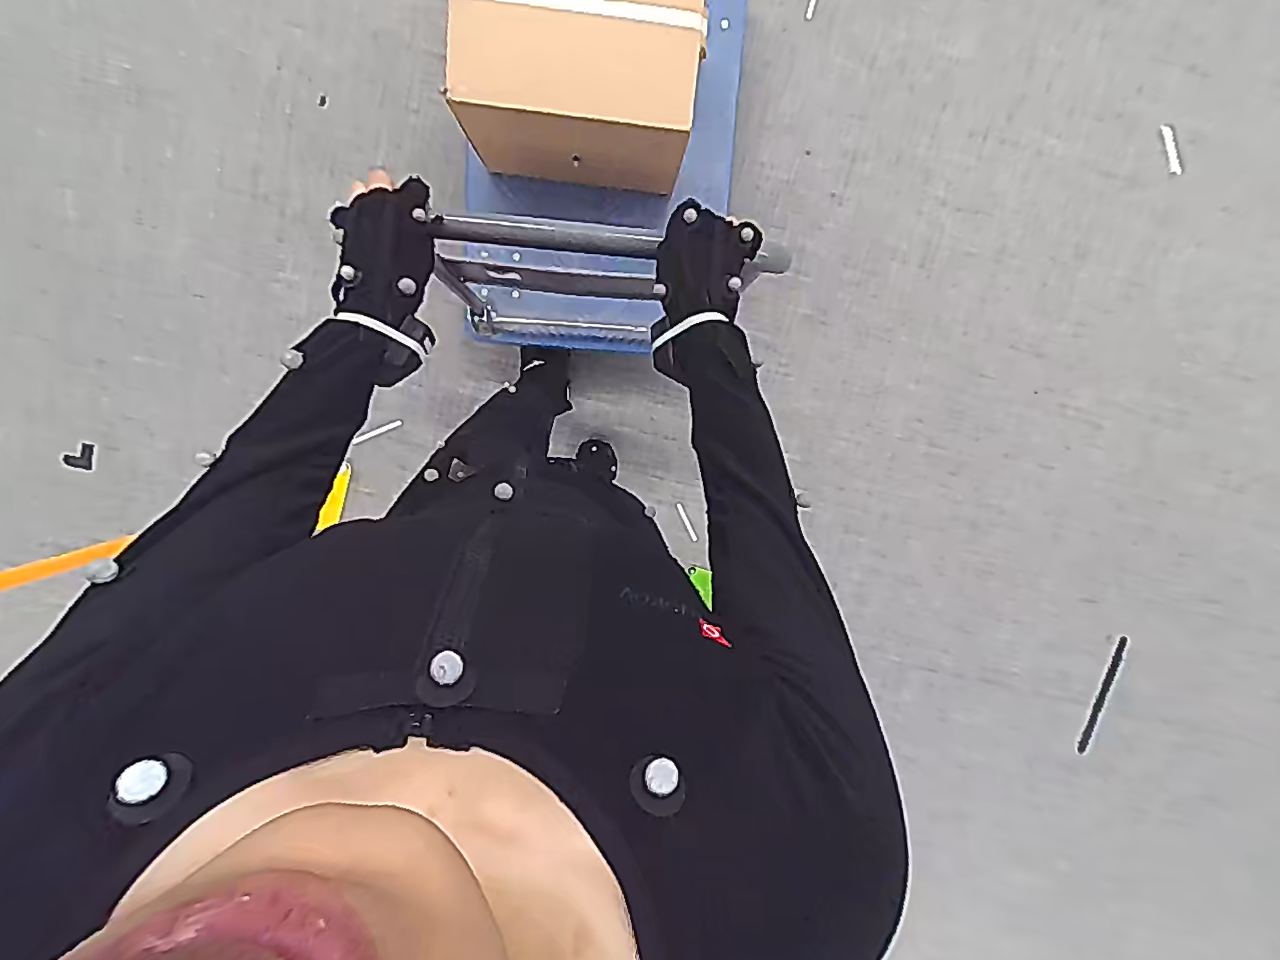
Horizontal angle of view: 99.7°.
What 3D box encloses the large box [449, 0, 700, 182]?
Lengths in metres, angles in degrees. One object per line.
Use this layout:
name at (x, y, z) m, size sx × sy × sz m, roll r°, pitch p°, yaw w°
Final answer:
large box at (-0.106, -0.787, 1.012) m, size 0.408 × 0.320 × 0.320 m, roll 5°, pitch 100°, yaw -3°
